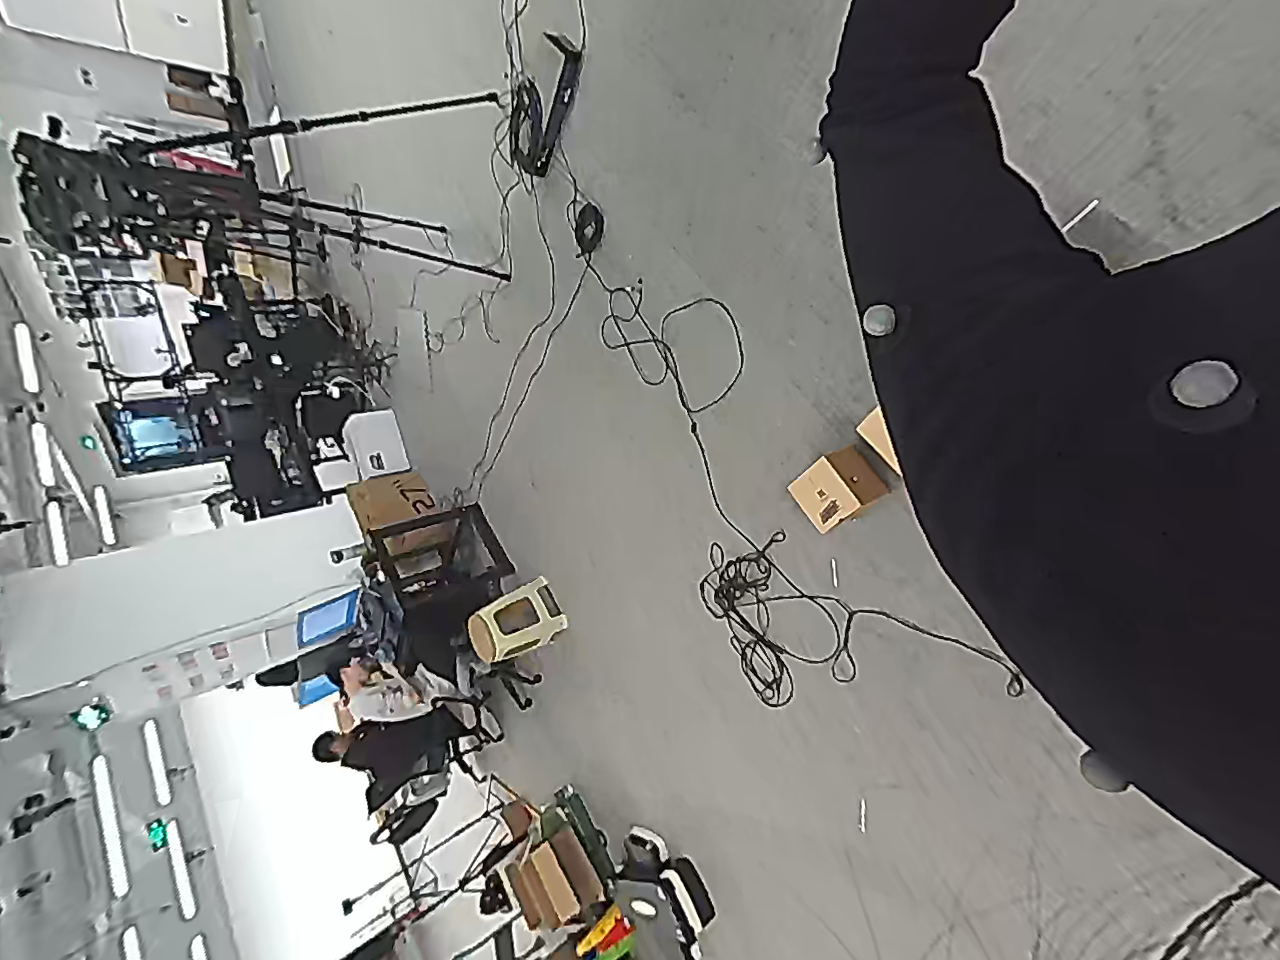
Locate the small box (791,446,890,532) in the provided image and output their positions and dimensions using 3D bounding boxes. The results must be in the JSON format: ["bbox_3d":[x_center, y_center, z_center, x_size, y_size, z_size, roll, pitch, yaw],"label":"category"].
[{"bbox_3d":[0.589,0.022,1.582,0.179,0.176,0.168,58,139,19],"label":"small box"}]
